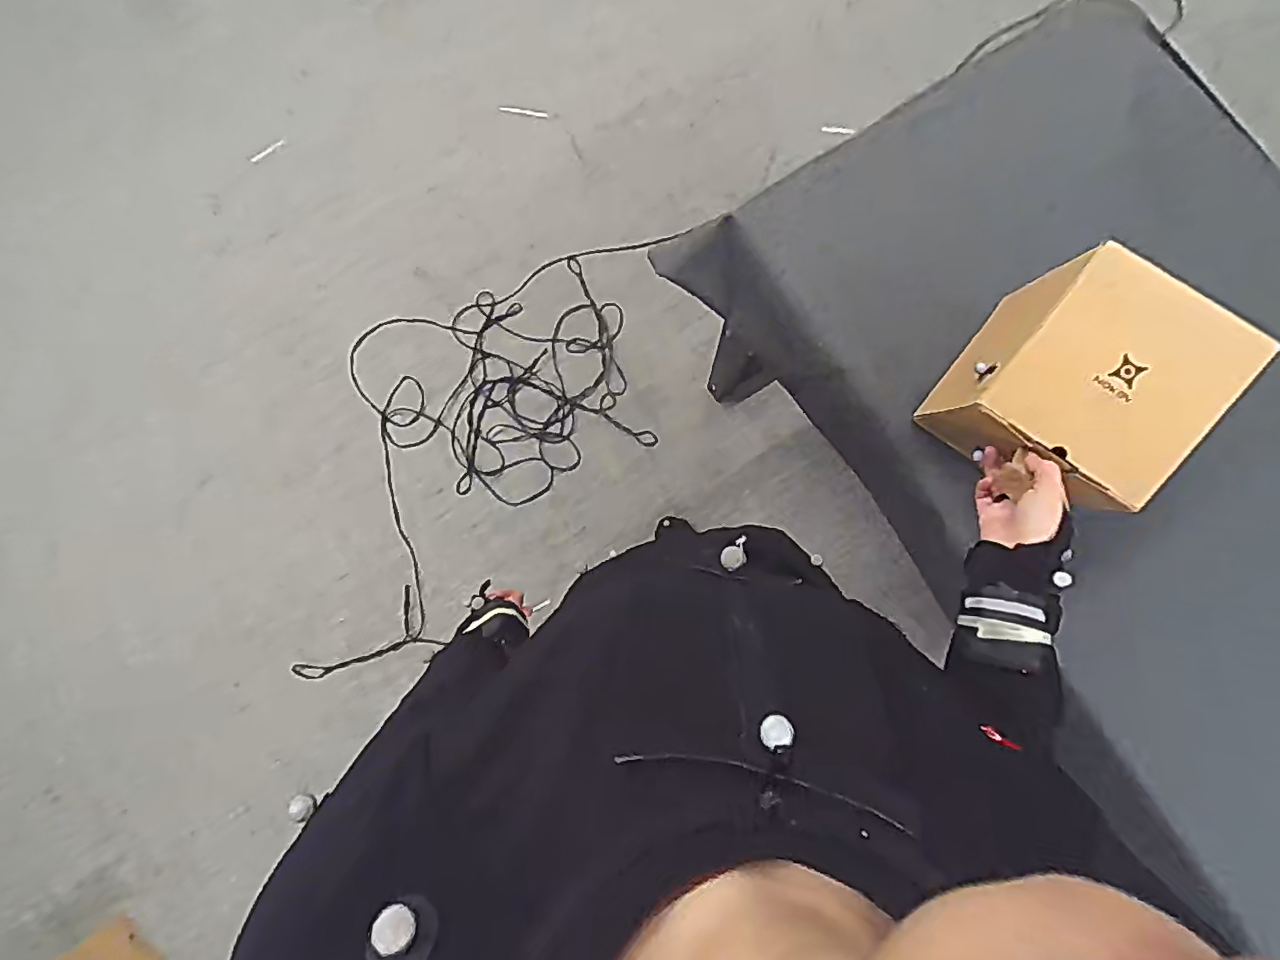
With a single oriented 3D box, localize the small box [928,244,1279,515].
[{"bbox_3d":[0.429,-0.090,0.539,0.168,0.176,0.179,36,99,5],"label":"small box"}]
